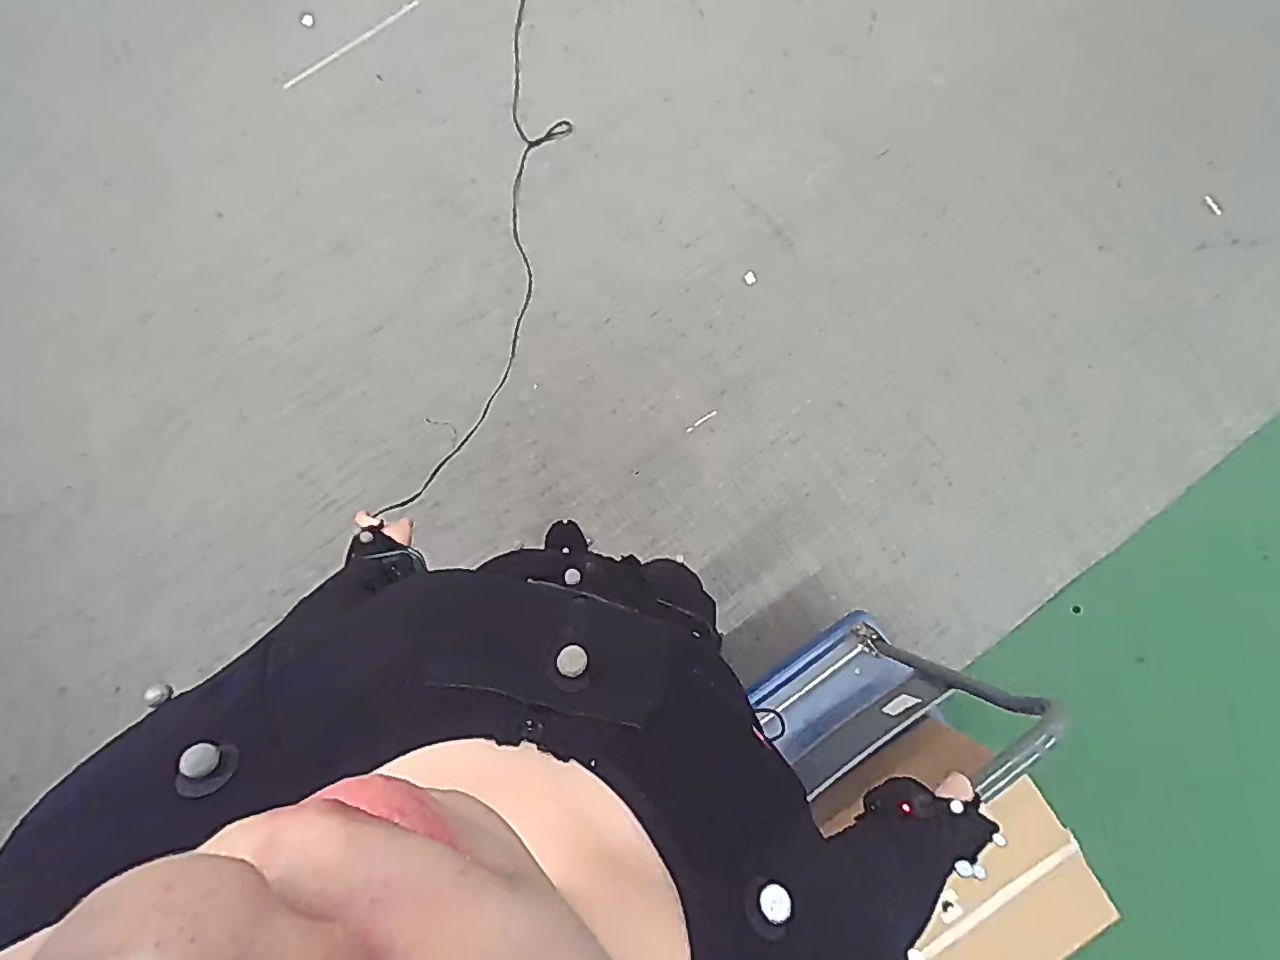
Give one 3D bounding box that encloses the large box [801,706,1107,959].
[{"bbox_3d":[0.634,0.770,1.160,0.408,0.320,0.320,-32,86,-3],"label":"large box"}]
